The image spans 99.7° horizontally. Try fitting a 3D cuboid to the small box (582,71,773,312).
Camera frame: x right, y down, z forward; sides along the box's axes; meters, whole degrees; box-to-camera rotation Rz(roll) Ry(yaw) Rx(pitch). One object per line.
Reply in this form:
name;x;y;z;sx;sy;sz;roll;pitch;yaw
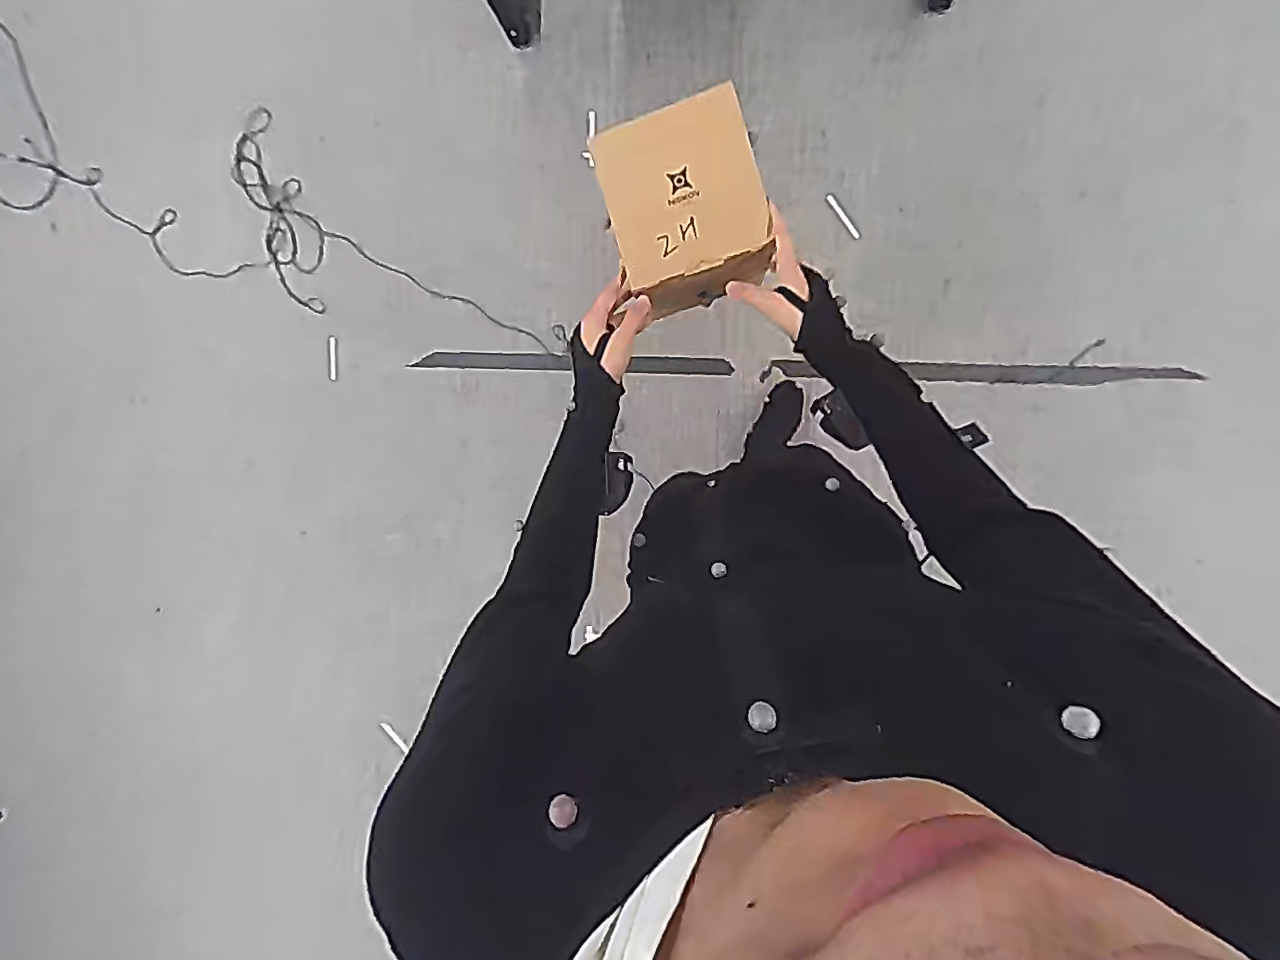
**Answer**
small box;0.047;-0.325;0.650;0.168;0.176;0.179;-18;94;9
